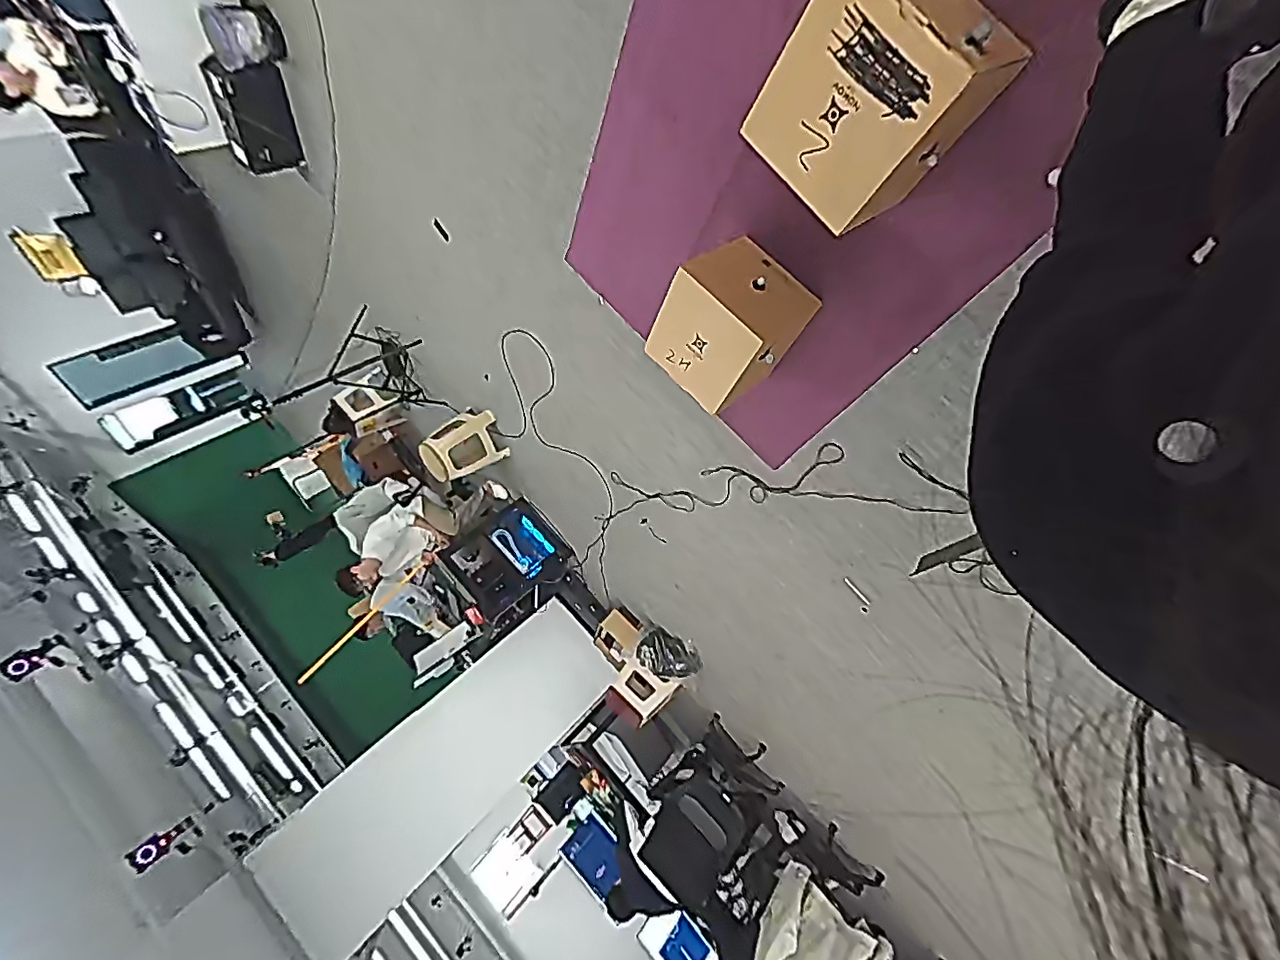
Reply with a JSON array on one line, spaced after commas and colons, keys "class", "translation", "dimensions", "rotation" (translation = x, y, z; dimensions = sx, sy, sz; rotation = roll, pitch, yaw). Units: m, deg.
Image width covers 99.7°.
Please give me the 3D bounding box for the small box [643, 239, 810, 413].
[{"class": "small box", "translation": [0.138, -0.245, 0.852], "dimensions": [0.168, 0.176, 0.179], "rotation": [47, 147, 11]}]
